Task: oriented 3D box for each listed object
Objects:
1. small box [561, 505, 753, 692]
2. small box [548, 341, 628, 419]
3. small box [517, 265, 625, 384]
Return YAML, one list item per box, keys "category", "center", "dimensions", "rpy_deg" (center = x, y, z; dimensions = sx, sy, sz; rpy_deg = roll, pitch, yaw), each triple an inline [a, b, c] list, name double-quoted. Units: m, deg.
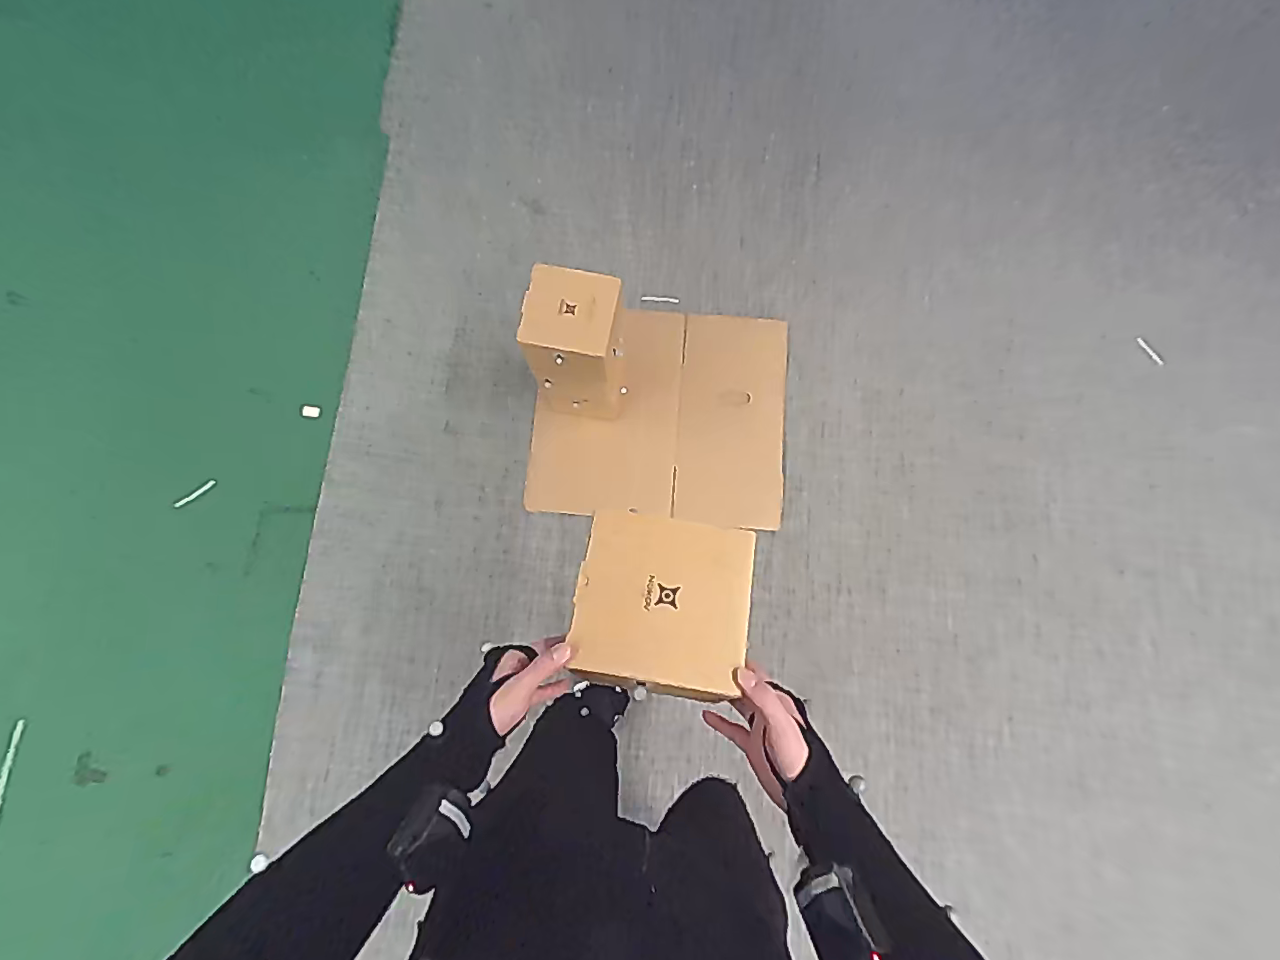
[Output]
- category: "small box"
  center: [0.023, 0.144, 0.622]
  dimensions: [0.179, 0.176, 0.168]
  rpy_deg: [8, 66, 6]
- category: "small box"
  center: [-0.132, -0.271, 1.439]
  dimensions: [0.179, 0.176, 0.168]
  rpy_deg: [9, 80, 2]
- category: "small box"
  center: [-0.134, -0.311, 1.113]
  dimensions: [0.179, 0.176, 0.168]
  rpy_deg: [11, 81, 2]
